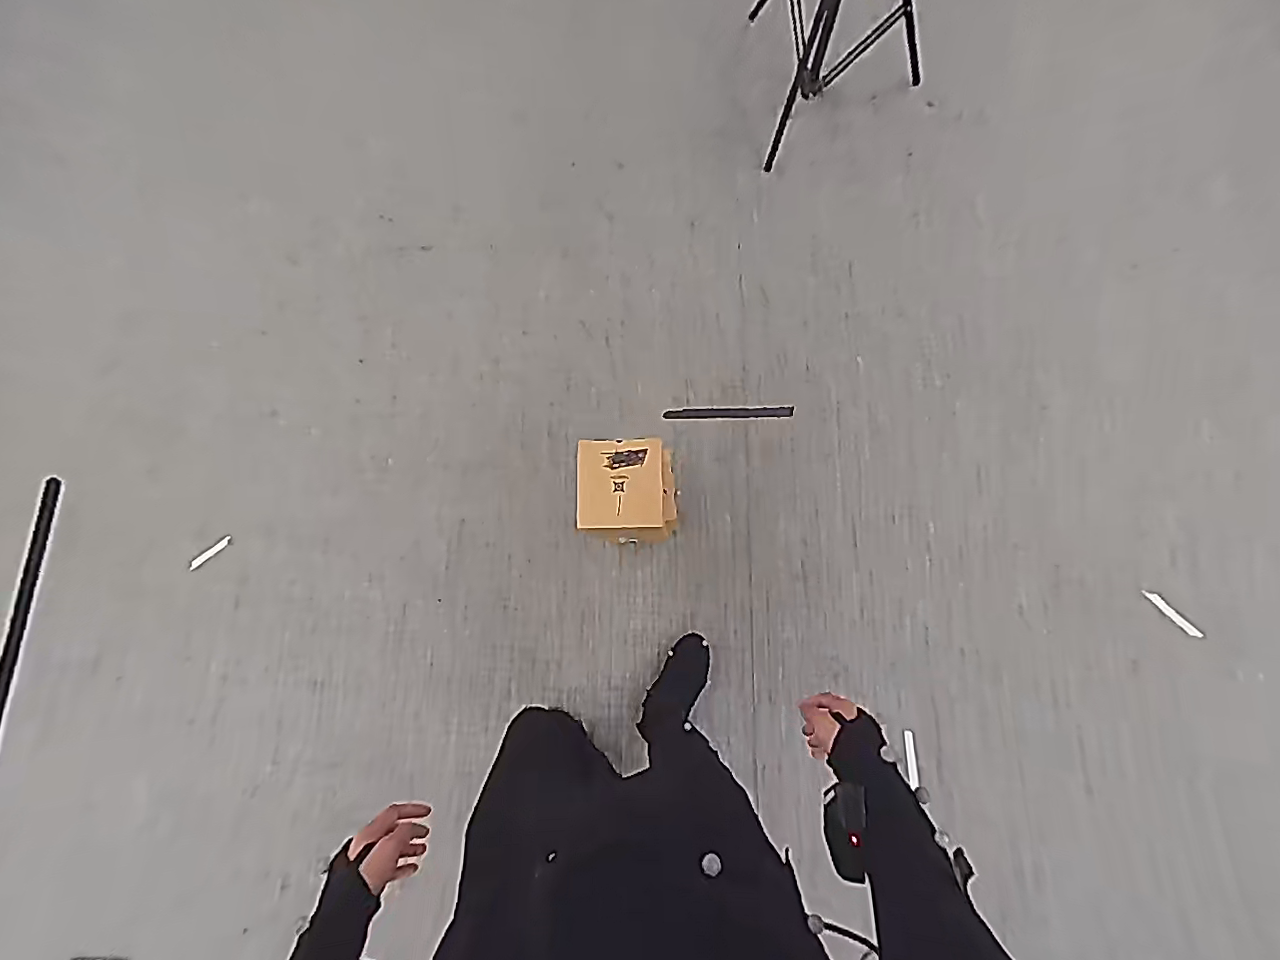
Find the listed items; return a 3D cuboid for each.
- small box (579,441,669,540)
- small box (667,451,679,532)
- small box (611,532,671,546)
[{"bbox_3d":[-0.027,0.027,1.103,0.168,0.176,0.179,-1,79,5],"label":"small box"},{"bbox_3d":[-0.002,0.038,1.268,0.179,0.176,0.168,-5,78,3],"label":"small box"},{"bbox_3d":[-0.005,0.075,1.428,0.168,0.176,0.179,-4,78,3],"label":"small box"}]
